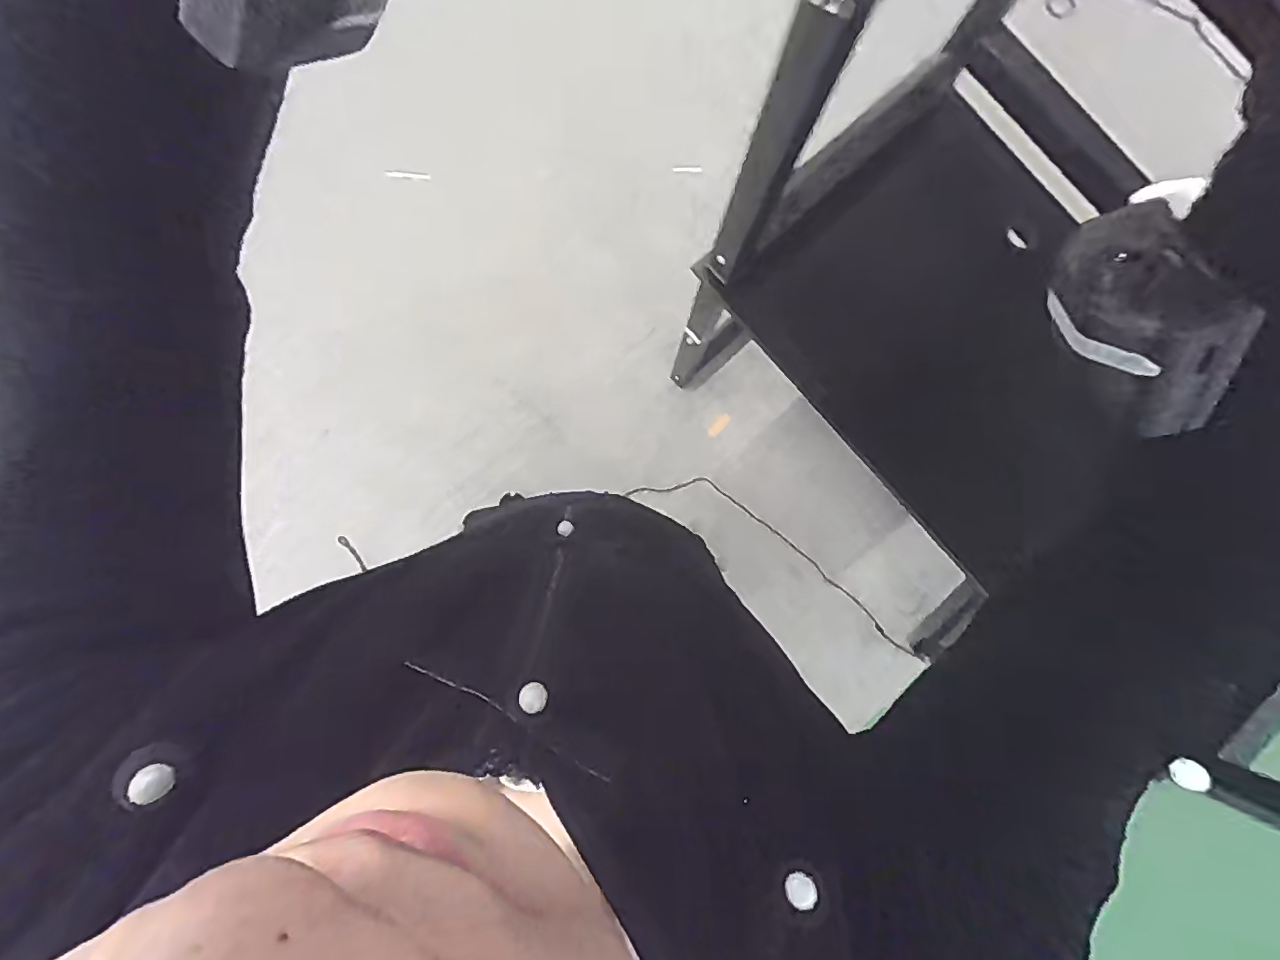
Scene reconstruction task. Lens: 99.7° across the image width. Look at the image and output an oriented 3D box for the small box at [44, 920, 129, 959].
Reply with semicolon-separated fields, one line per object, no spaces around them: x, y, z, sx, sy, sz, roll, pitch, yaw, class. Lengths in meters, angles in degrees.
-1.457;1.281;1.367;0.179;0.176;0.168;-36;88;-4;small box
